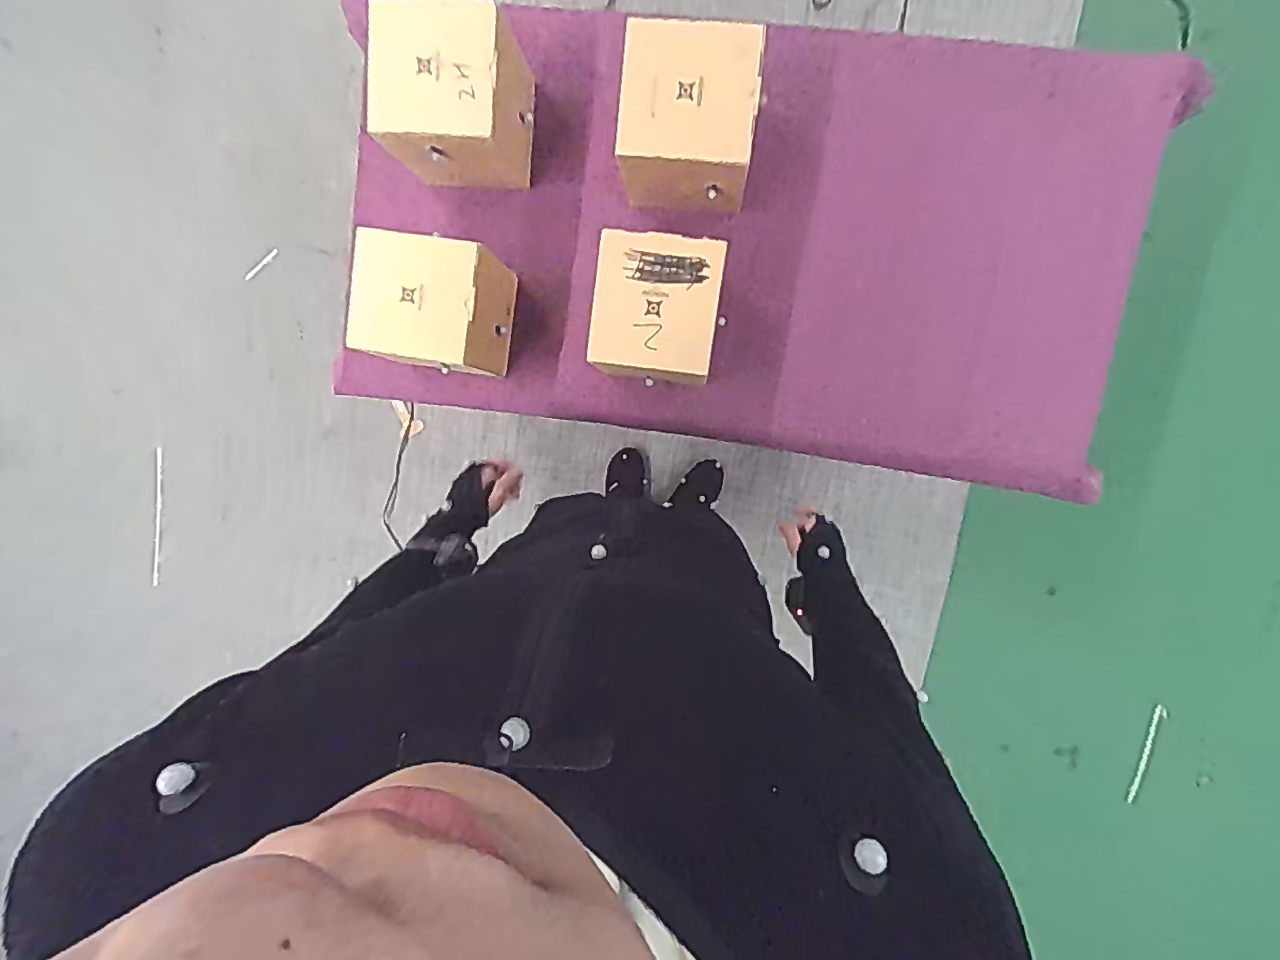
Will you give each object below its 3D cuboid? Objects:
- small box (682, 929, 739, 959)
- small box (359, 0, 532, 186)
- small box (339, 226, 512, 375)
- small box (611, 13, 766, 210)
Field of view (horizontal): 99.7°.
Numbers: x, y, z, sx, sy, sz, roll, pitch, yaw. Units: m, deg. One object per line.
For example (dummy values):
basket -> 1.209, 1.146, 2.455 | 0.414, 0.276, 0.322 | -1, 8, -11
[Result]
small box -> 0.217, 1.569, 1.693 | 0.168, 0.176, 0.179 | 11, 98, 5
small box -> -0.268, -0.541, 0.772 | 0.179, 0.176, 0.168 | 6, 98, 5
small box -> -0.309, -0.256, 0.808 | 0.179, 0.176, 0.168 | 9, 96, 3
small box -> 0.066, -0.492, 0.748 | 0.179, 0.176, 0.168 | 7, 97, 5
